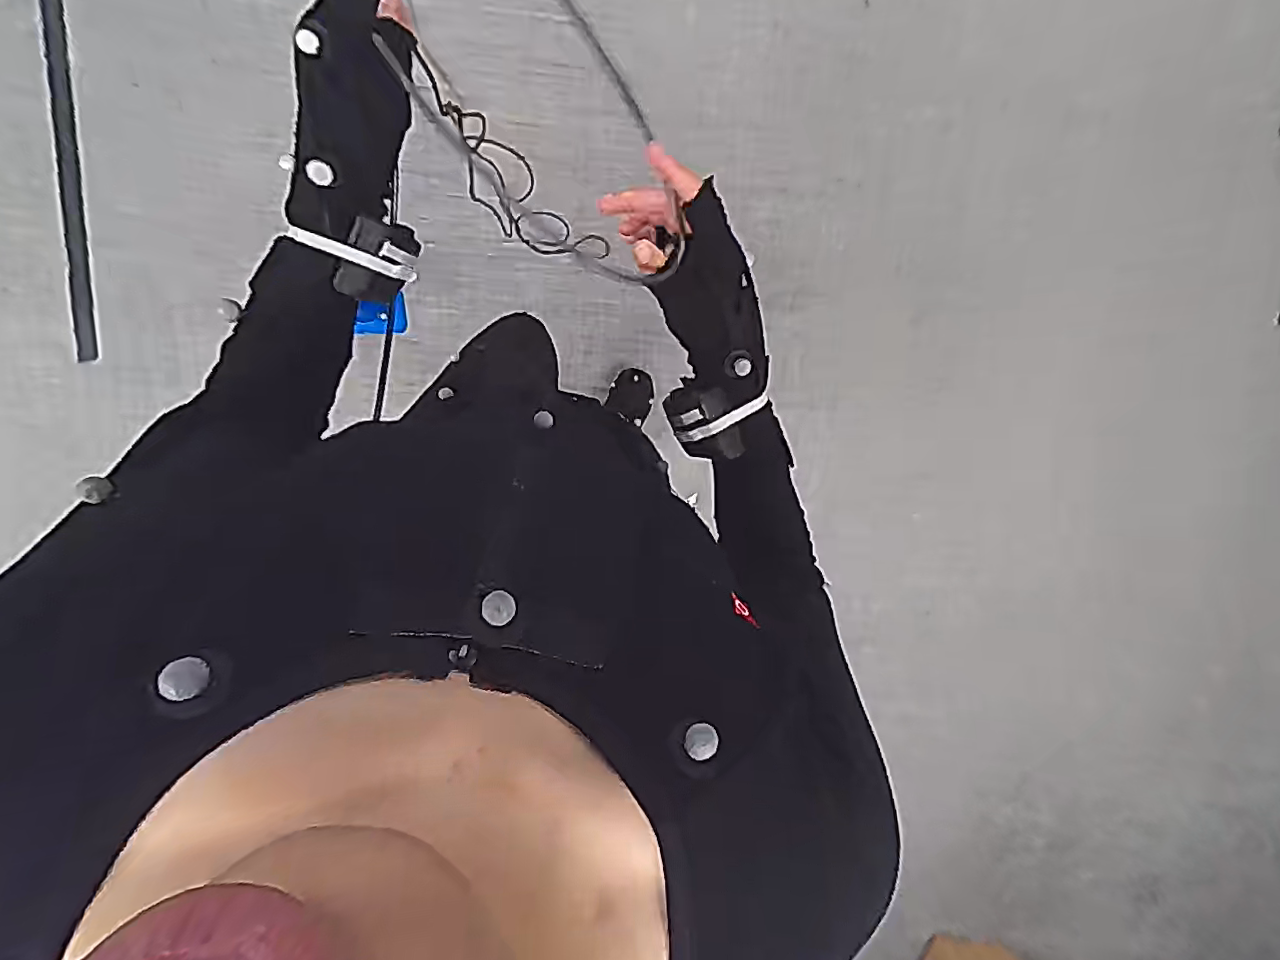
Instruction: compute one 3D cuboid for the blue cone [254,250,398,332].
[{"bbox_3d":[-0.687,-0.426,1.168,0.192,0.380,0.193,-1,103,-3],"label":"blue cone"}]
